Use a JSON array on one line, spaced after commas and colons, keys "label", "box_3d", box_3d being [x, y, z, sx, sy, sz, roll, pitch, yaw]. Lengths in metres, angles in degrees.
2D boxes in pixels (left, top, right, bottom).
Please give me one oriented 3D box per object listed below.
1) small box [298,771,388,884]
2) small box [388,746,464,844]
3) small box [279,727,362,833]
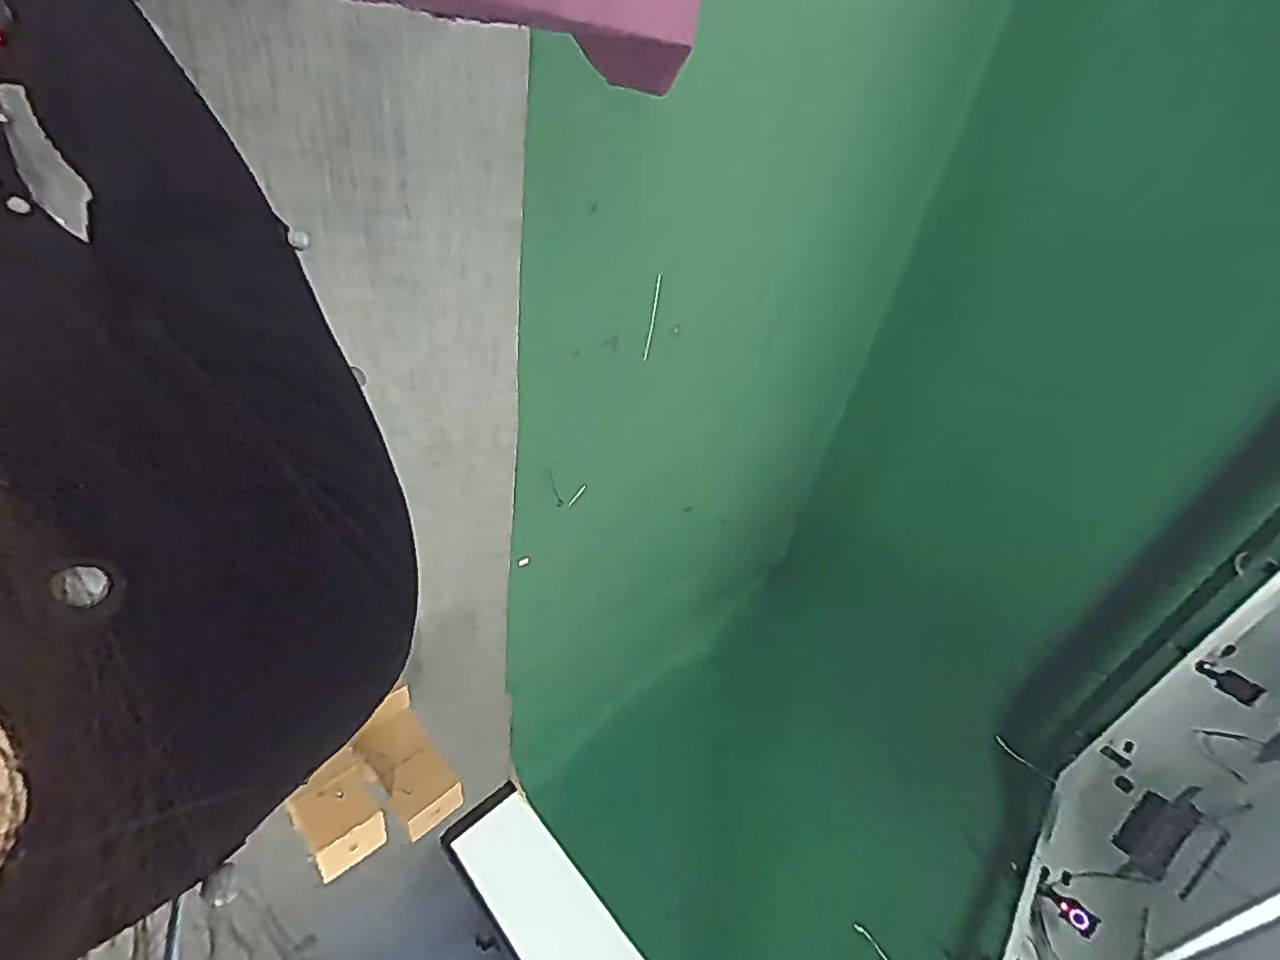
[{"label": "small box", "box_3d": [-0.822, 0.955, 1.501, 0.168, 0.176, 0.179, -21, 134, -40]}, {"label": "small box", "box_3d": [-0.685, 1.000, 1.726, 0.179, 0.176, 0.168, -26, 140, -39]}, {"label": "small box", "box_3d": [-0.934, 0.872, 1.585, 0.179, 0.176, 0.168, -21, 136, -41]}]
